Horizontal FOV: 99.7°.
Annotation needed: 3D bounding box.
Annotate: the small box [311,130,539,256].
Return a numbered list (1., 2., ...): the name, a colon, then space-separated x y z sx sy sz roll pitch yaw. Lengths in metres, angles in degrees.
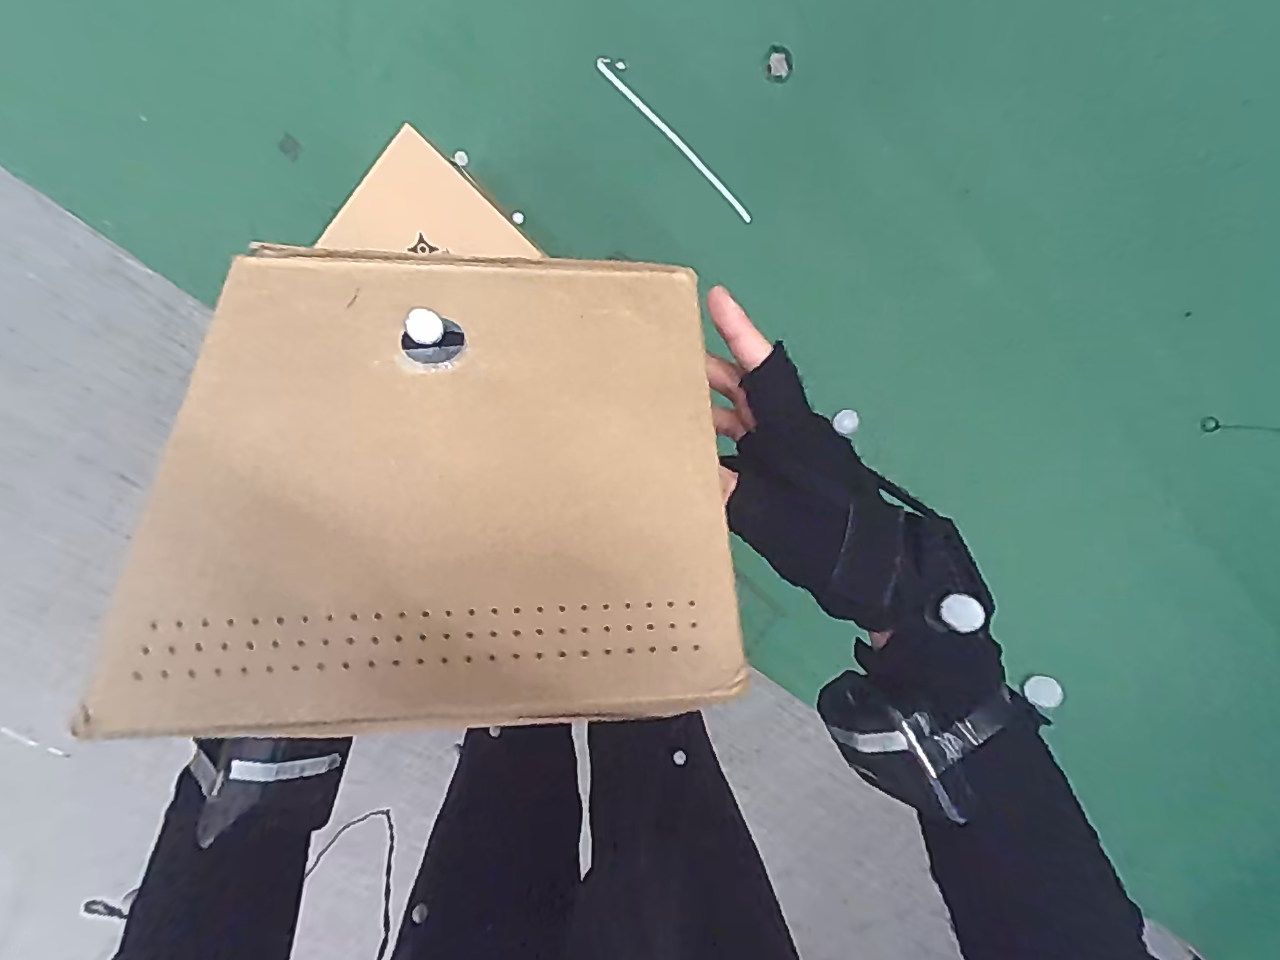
1. small box: -0.228 -0.256 0.635 0.179 0.176 0.168 41 101 -18

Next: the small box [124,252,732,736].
1. small box: -0.070 0.021 0.250 0.179 0.168 0.176 -1 66 -7
